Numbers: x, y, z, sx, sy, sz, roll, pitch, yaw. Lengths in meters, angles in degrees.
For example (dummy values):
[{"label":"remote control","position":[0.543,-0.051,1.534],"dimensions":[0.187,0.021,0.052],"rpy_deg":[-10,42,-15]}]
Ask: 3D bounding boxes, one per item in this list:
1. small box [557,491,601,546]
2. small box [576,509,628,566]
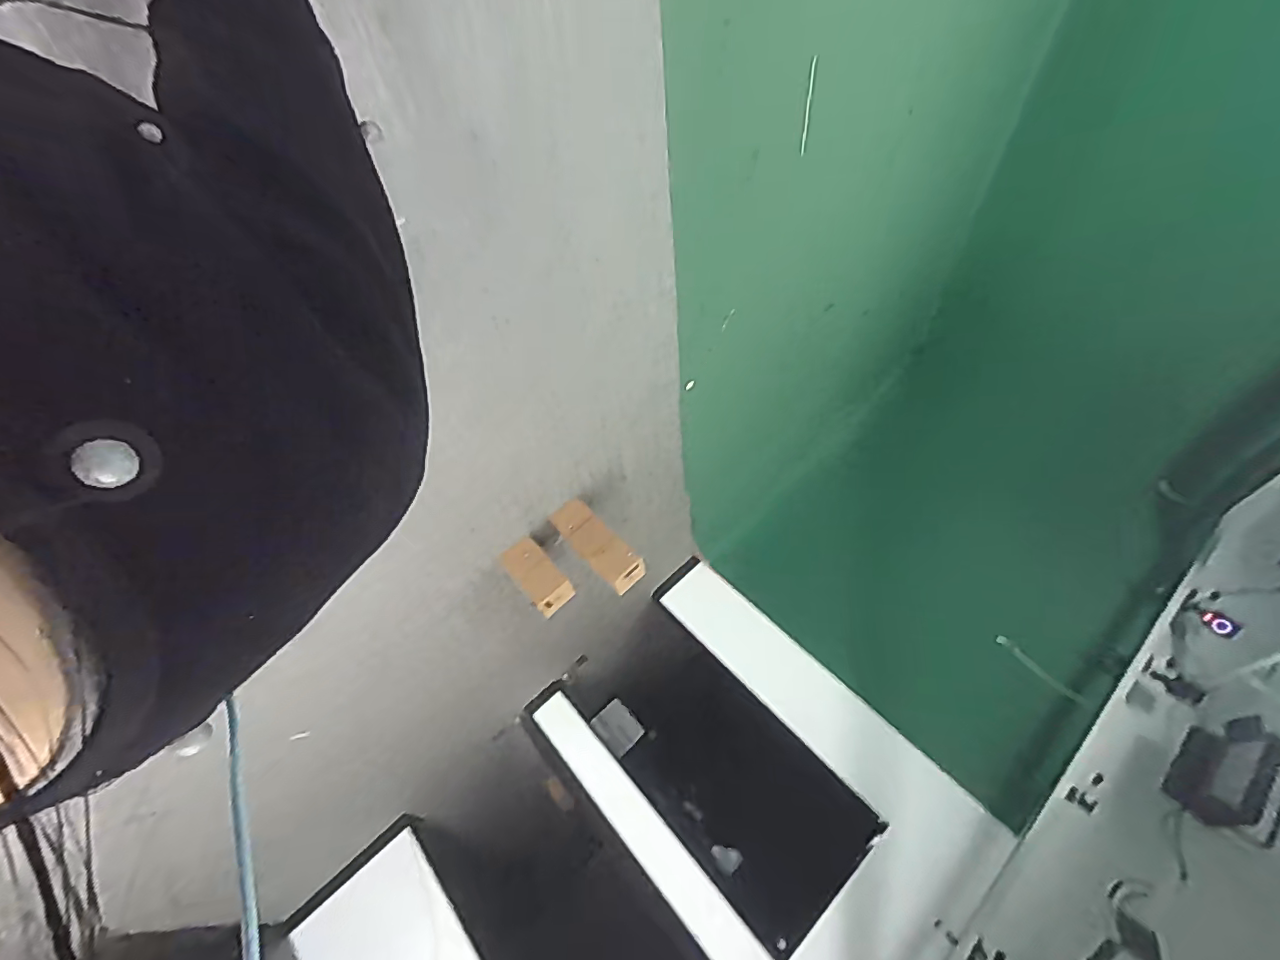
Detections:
[{"label":"small box","position":[-0.291,0.189,2.686],"dimensions":[0.179,0.176,0.168],"rpy_deg":[-41,149,-16]},{"label":"small box","position":[-0.187,0.275,2.595],"dimensions":[0.179,0.176,0.168],"rpy_deg":[-41,149,-17]}]
